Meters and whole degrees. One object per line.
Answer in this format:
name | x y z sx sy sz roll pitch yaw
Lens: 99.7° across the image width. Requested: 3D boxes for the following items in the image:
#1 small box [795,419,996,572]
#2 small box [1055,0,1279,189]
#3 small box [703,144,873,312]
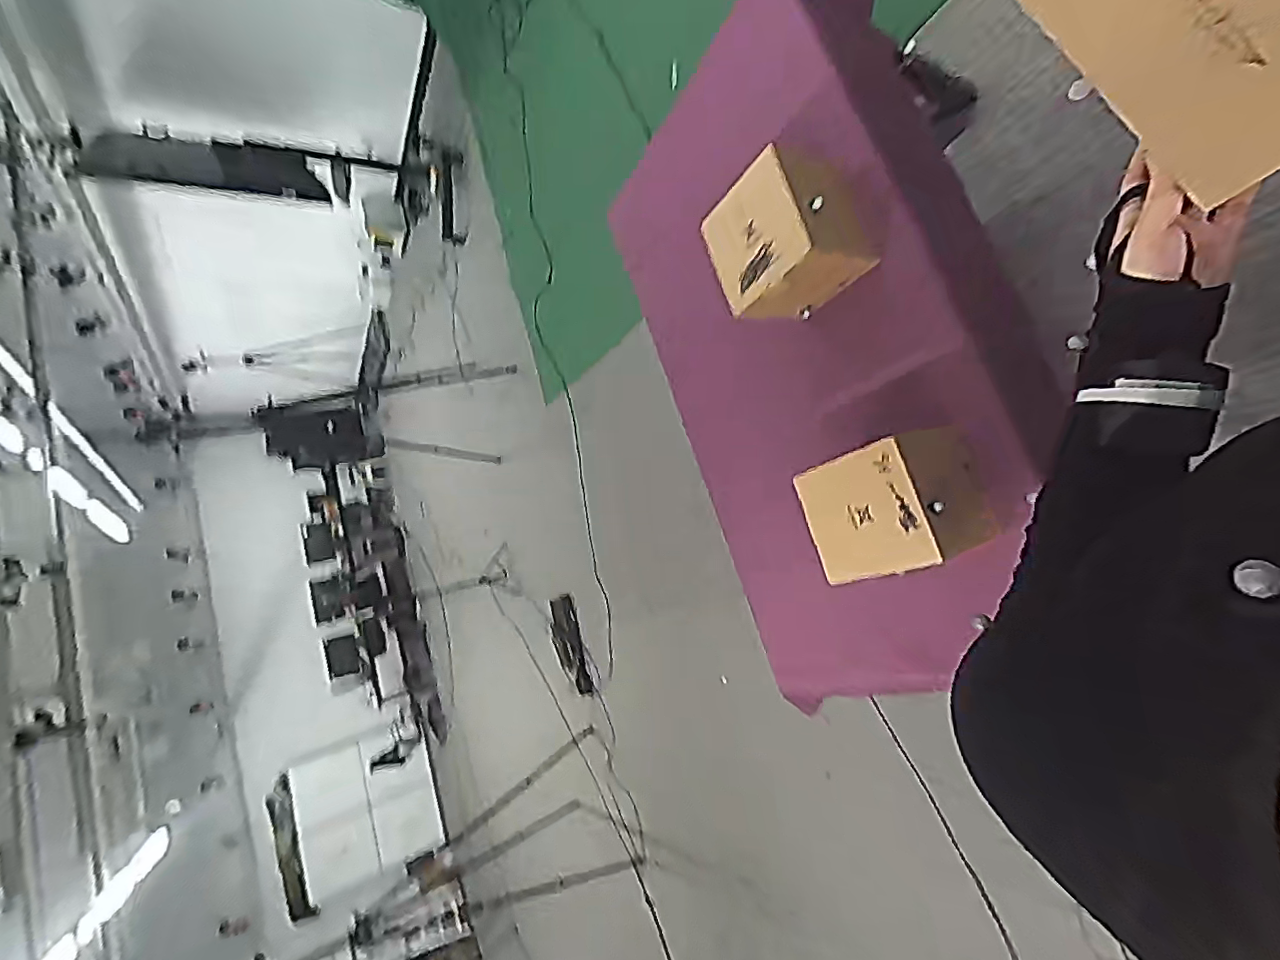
small box | 0.364 0.023 0.782 0.179 0.176 0.168 -31 74 55
small box | 0.345 -0.290 0.273 0.168 0.176 0.179 52 141 0
small box | 0.234 -0.386 0.857 0.168 0.176 0.179 -32 72 54
